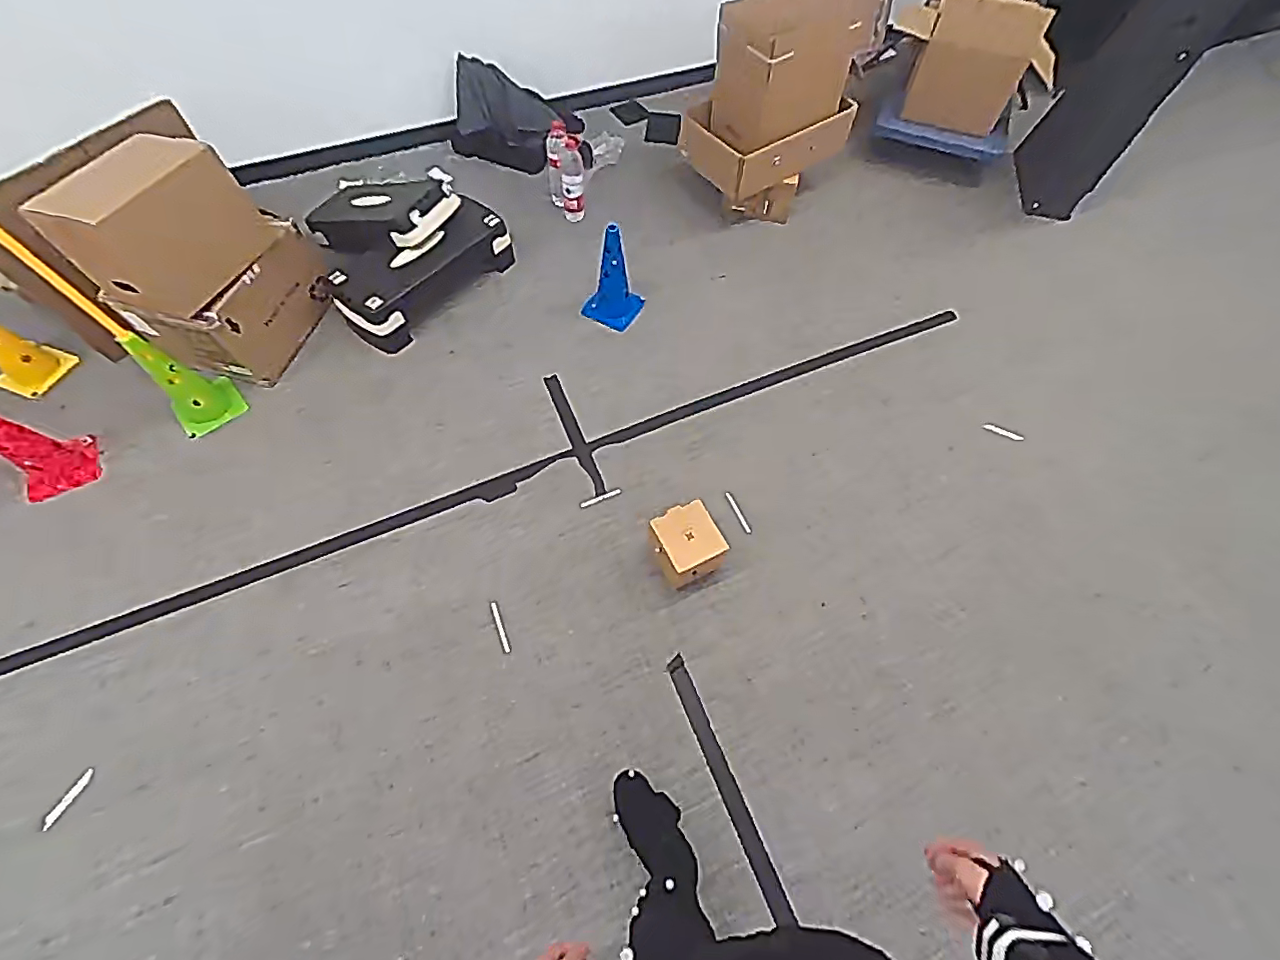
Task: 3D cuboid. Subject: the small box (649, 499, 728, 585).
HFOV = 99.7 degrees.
[{"bbox_3d":[0.135,0.191,1.579,0.168,0.176,0.179,-24,65,-14],"label":"small box"}]
